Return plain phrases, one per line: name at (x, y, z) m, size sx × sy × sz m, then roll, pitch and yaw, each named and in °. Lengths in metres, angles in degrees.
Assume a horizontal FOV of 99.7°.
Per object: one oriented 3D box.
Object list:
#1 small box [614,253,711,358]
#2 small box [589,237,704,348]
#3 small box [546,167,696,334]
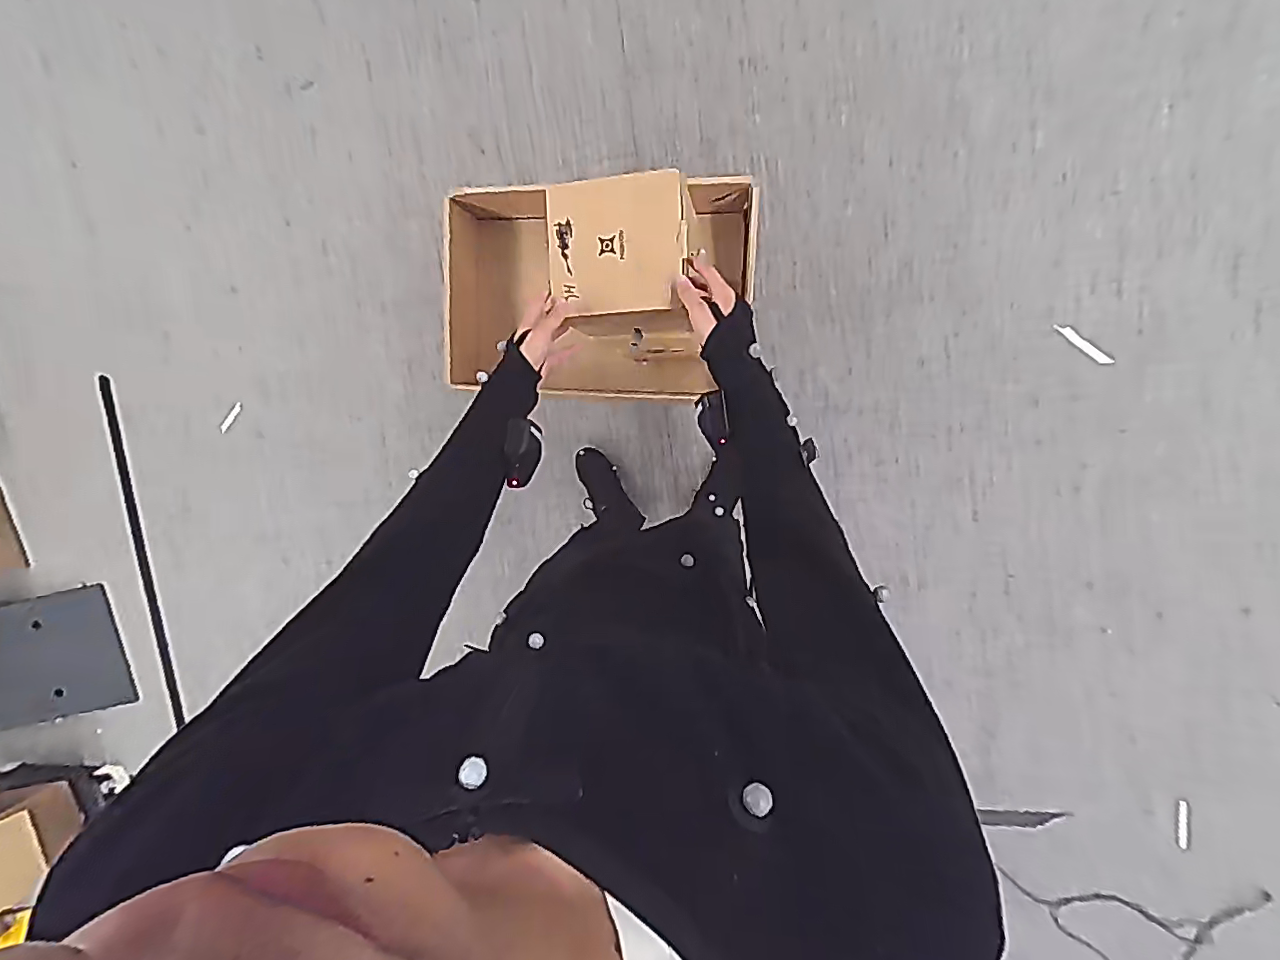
small box at (0.049, -0.333, 1.055) m, size 0.168 × 0.176 × 0.179 m, roll 1°, pitch 97°, yaw 12°
small box at (0.017, -0.315, 0.897) m, size 0.168 × 0.176 × 0.179 m, roll 2°, pitch 97°, yaw 12°
small box at (-0.015, -0.298, 0.737) m, size 0.179 × 0.176 × 0.168 m, roll 0°, pitch 96°, yaw 12°
